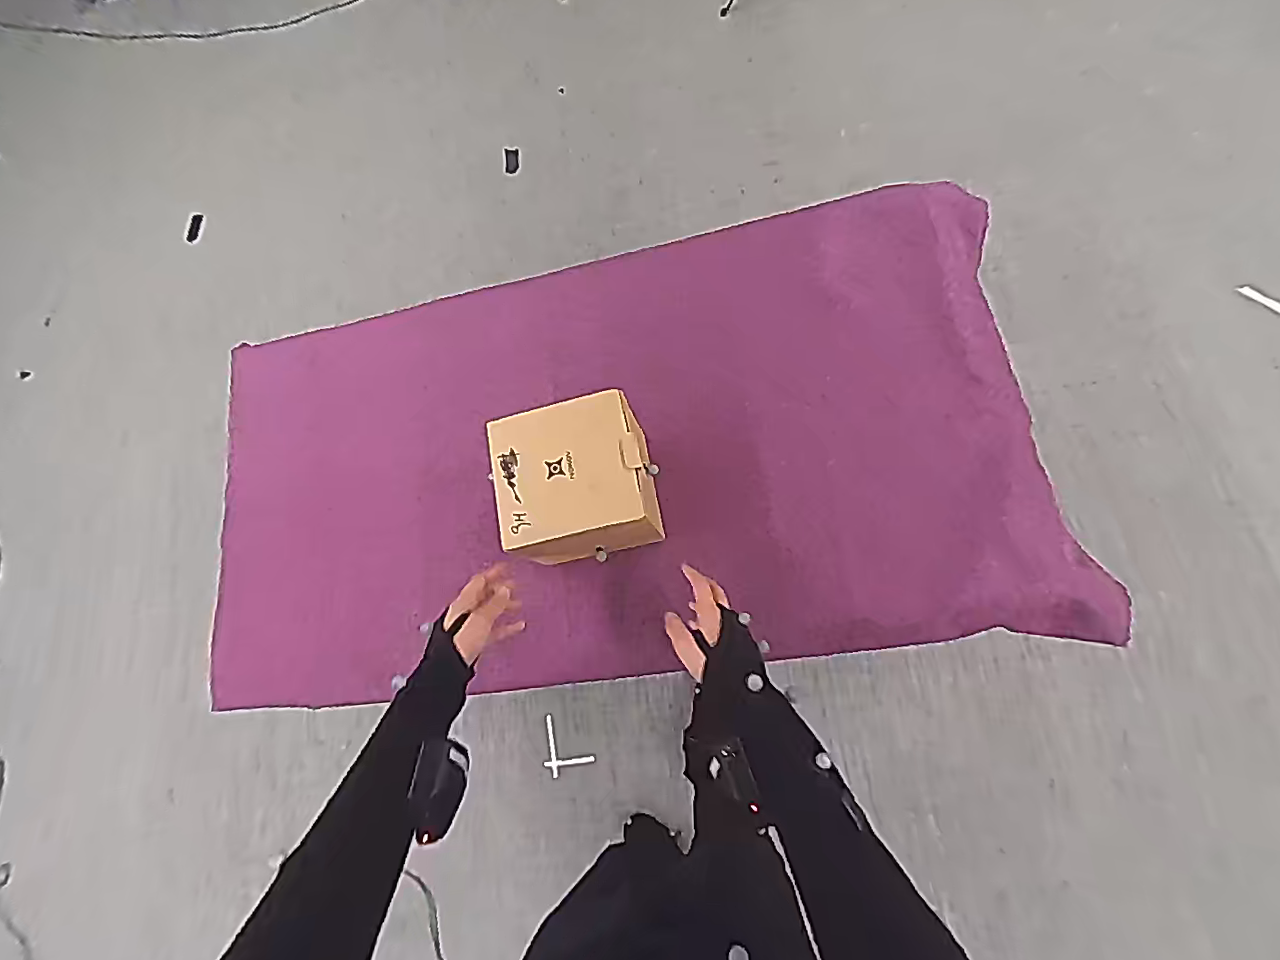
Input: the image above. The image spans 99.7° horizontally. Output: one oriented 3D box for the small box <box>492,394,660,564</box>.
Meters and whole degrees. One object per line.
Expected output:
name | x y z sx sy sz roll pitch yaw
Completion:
small box | -0.074 0.009 0.714 0.179 0.176 0.168 -13 73 6
